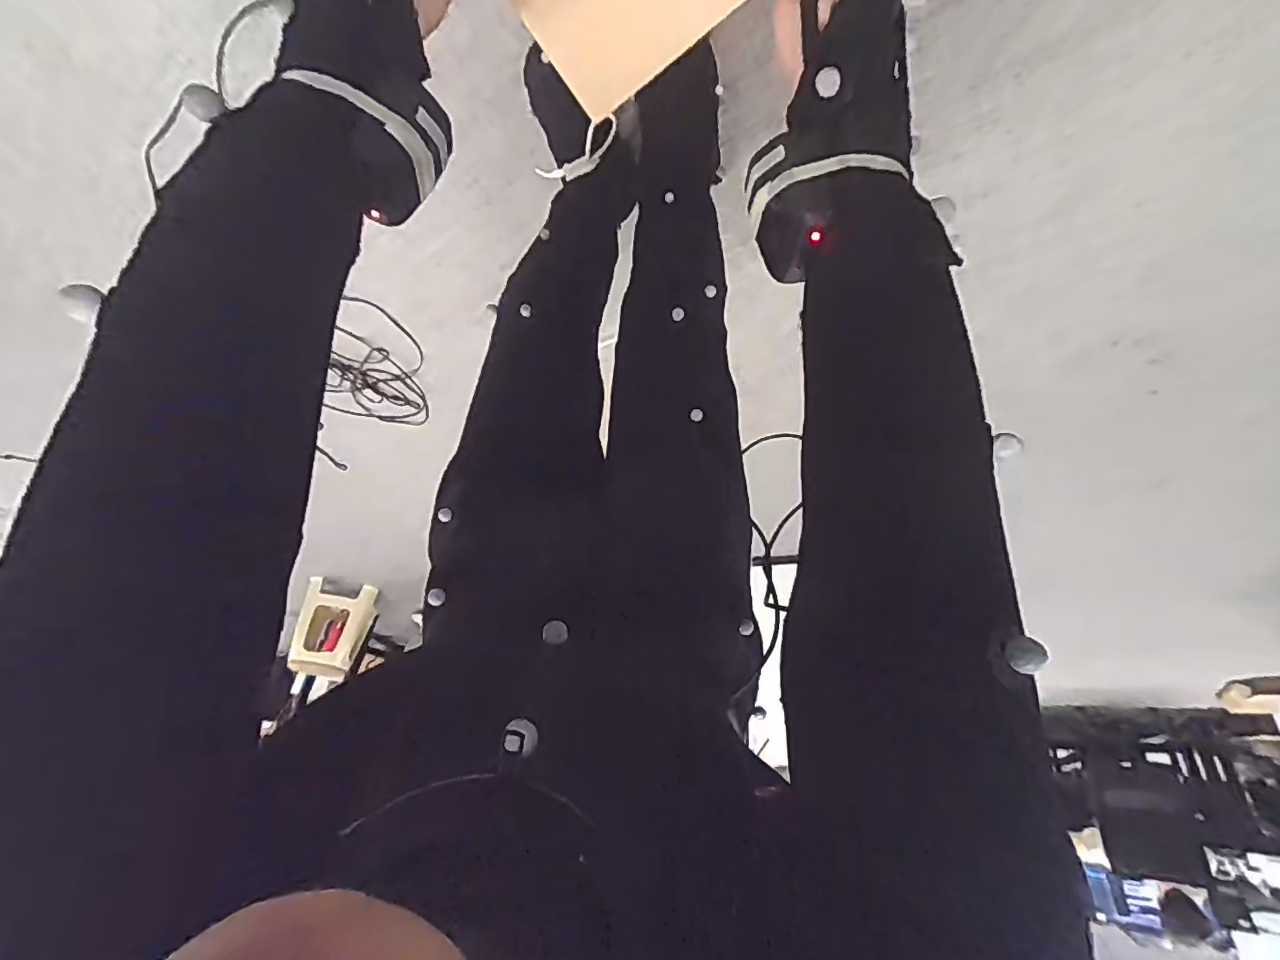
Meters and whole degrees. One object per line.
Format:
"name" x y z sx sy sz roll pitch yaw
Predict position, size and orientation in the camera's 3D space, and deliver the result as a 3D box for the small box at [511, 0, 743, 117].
"small box" -0.011 -0.399 0.351 0.168 0.176 0.179 -20 138 32
